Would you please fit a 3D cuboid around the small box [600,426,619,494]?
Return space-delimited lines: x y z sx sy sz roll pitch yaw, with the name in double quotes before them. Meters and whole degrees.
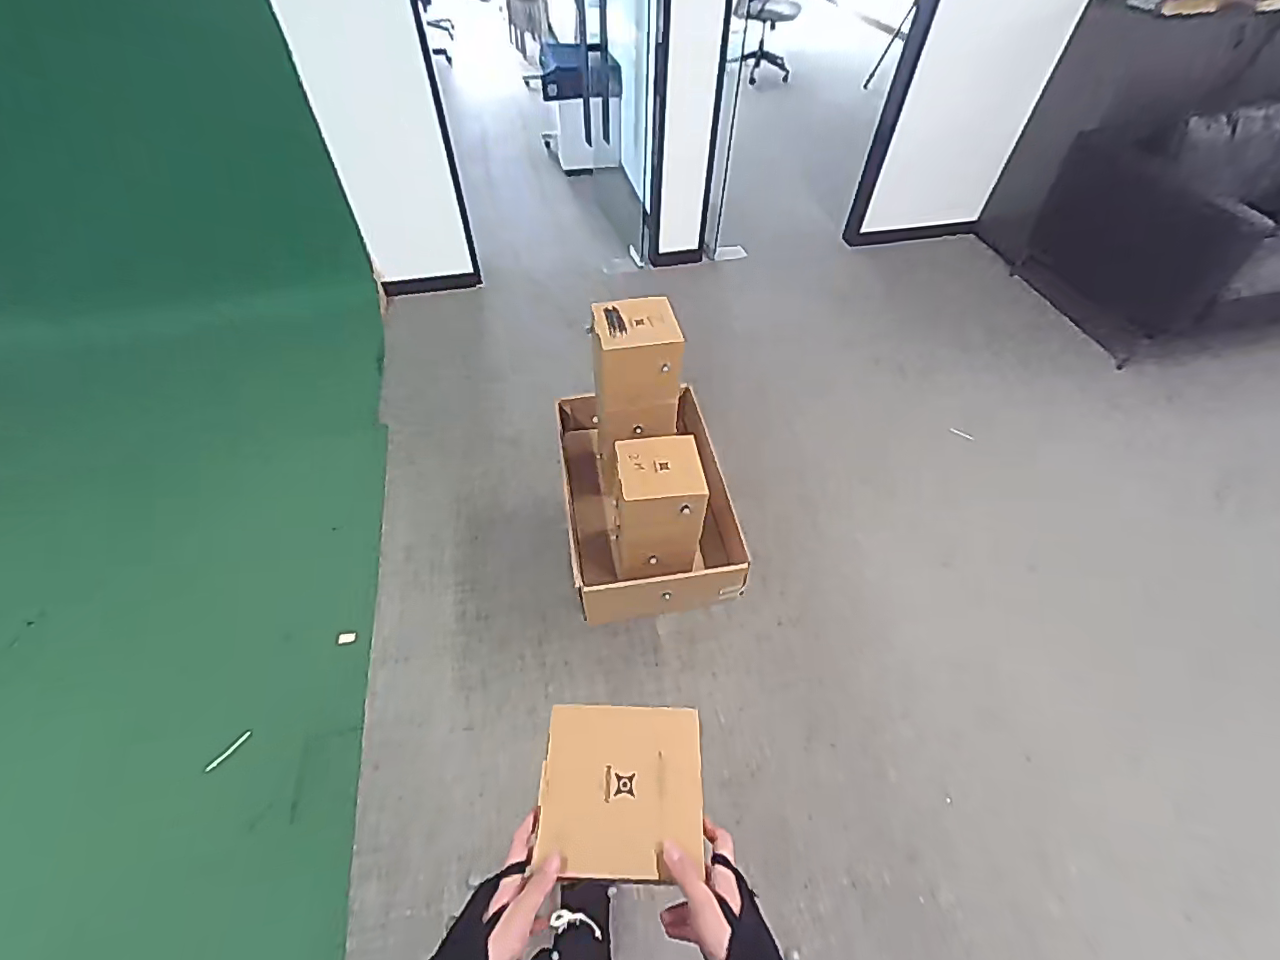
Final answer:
"small box" -0.014 -0.079 1.467 0.179 0.176 0.168 -7 53 -7

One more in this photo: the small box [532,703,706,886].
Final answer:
"small box" -0.018 0.377 0.645 0.179 0.176 0.168 2 53 1

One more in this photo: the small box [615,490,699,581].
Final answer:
"small box" 0.036 0.129 1.300 0.179 0.176 0.168 -6 51 -6

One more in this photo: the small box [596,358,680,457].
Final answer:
"small box" -0.010 -0.177 1.335 0.179 0.176 0.168 -9 53 -8

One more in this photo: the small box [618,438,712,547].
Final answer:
"small box" 0.045 0.029 1.169 0.179 0.176 0.168 -5 51 -6
